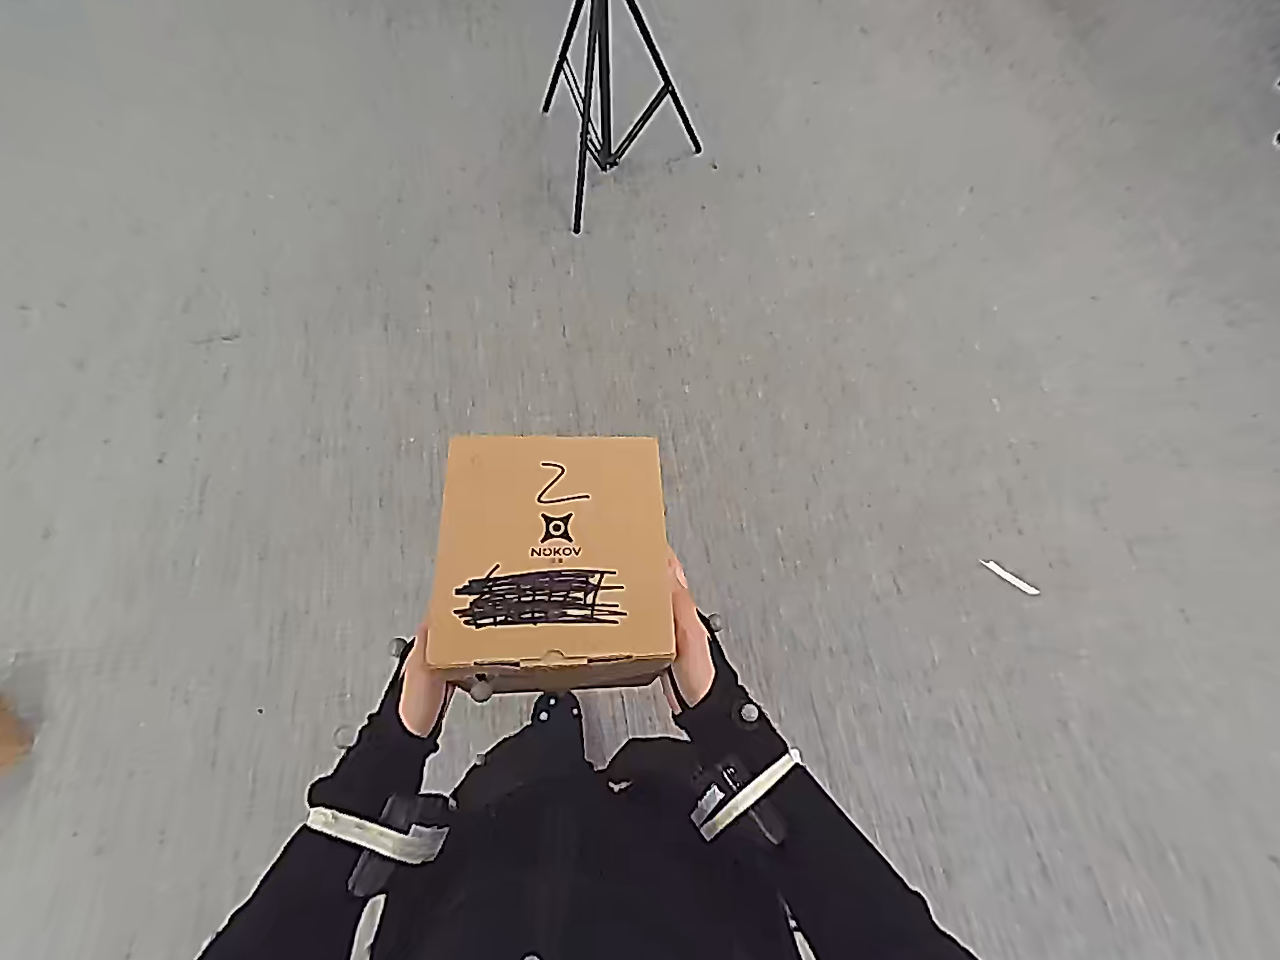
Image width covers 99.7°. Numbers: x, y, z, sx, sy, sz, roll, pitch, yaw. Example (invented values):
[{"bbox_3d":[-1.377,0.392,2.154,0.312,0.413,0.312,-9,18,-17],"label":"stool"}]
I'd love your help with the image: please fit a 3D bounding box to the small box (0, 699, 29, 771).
[{"bbox_3d":[-1.505,0.583,1.162,0.179,0.176,0.168,40,72,14],"label":"small box"}]
